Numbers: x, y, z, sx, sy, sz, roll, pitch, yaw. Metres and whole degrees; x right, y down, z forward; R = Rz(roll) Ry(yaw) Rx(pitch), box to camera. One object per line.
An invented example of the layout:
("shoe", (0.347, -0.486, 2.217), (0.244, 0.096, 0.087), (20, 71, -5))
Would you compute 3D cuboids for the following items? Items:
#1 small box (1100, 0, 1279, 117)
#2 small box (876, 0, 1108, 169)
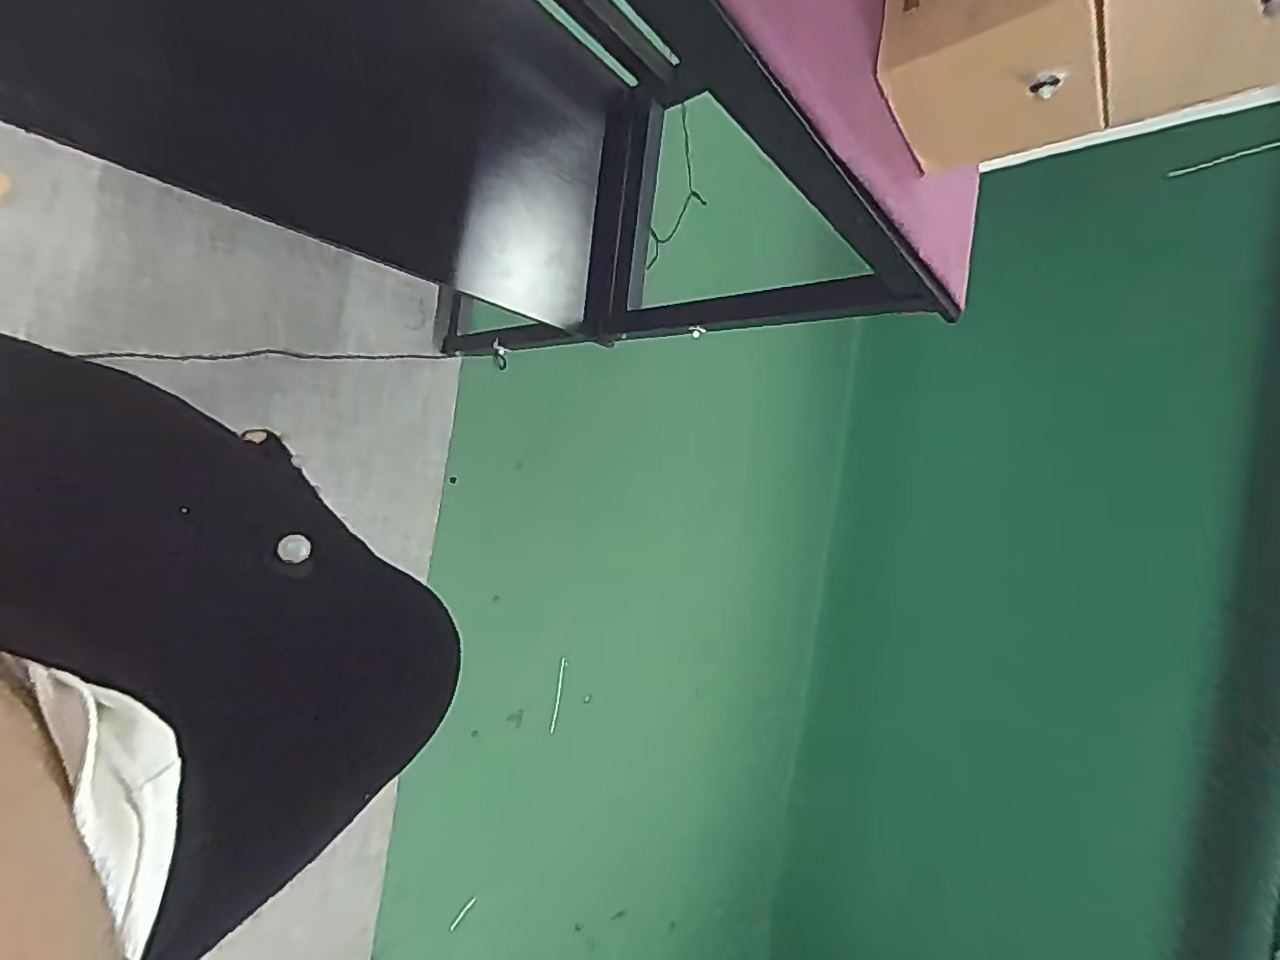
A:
("small box", (0.465, -0.422, 0.410), (0.179, 0.176, 0.168), (12, 88, -46))
("small box", (0.345, -0.438, 0.520), (0.179, 0.176, 0.168), (13, 86, -48))
